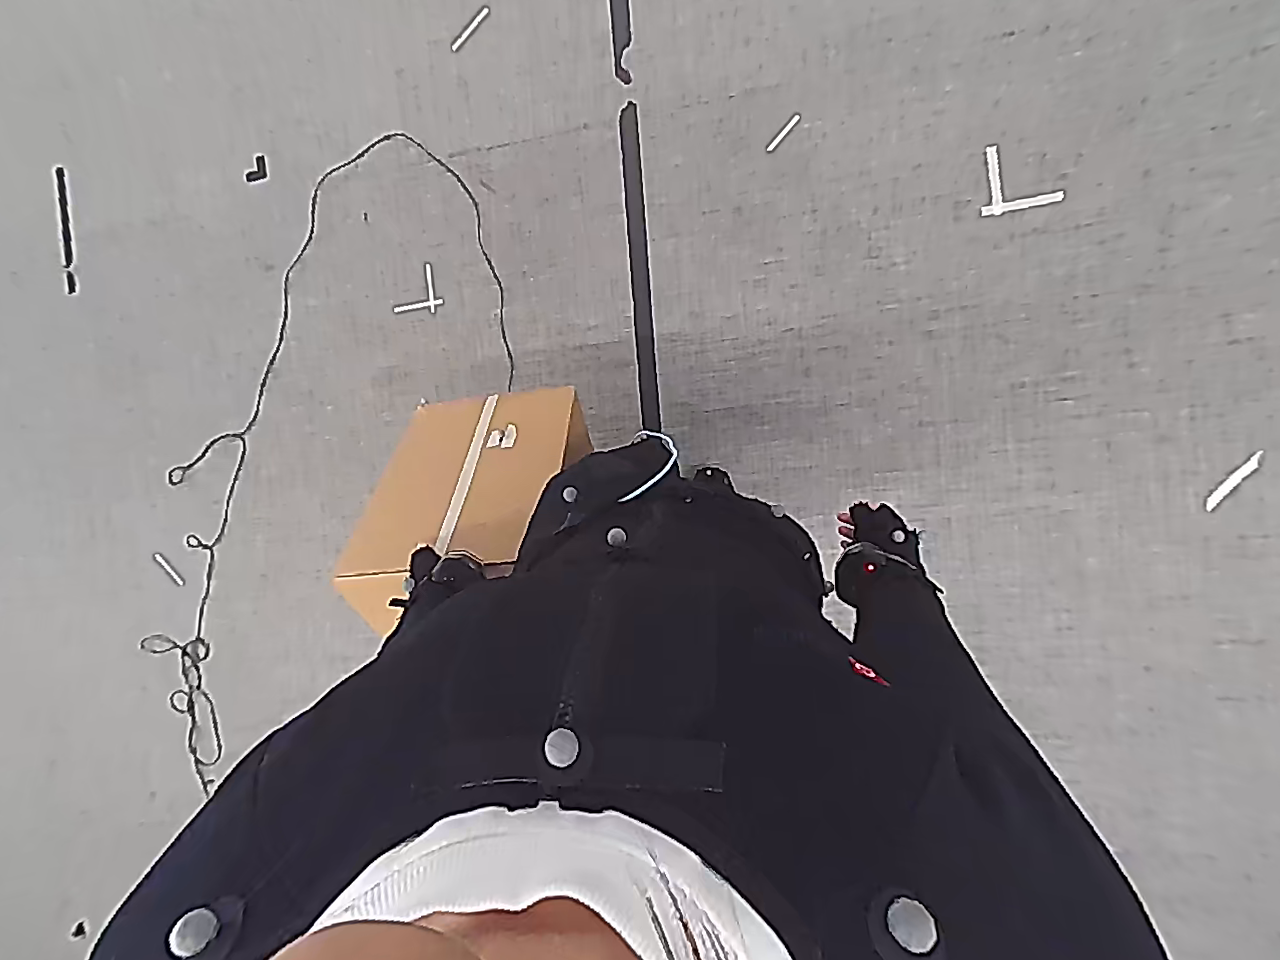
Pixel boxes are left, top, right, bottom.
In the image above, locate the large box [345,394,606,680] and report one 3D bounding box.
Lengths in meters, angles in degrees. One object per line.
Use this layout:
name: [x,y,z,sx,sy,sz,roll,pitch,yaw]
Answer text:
large box: [-0.247,0.098,0.986,0.320,0.408,0.320,-5,133,6]
